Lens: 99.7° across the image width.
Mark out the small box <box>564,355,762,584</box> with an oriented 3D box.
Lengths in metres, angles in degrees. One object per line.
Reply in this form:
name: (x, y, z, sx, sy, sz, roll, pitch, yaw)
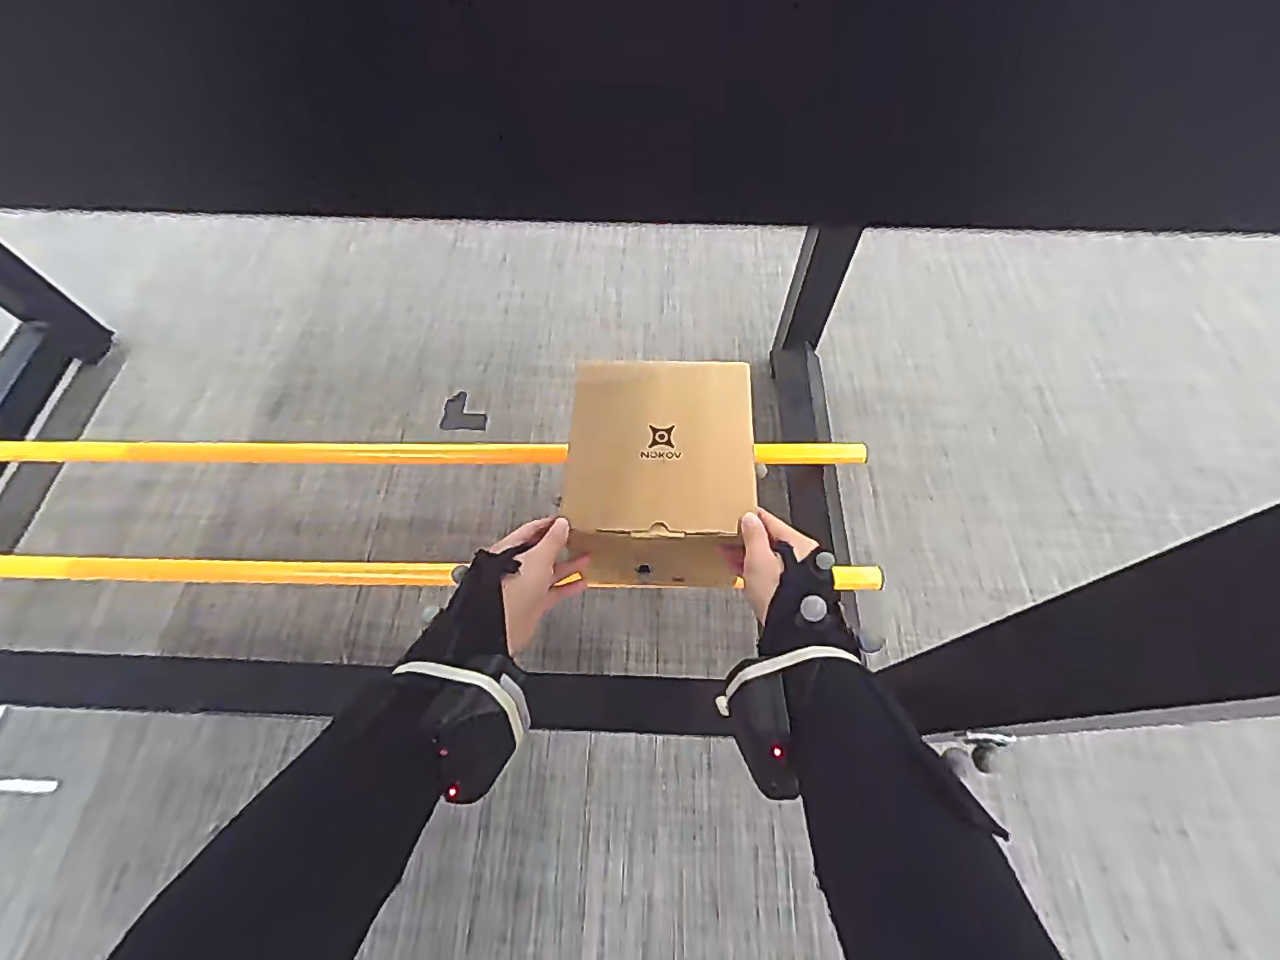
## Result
small box: (0.022, -0.004, 0.548, 0.168, 0.176, 0.179, 1, 65, 2)
